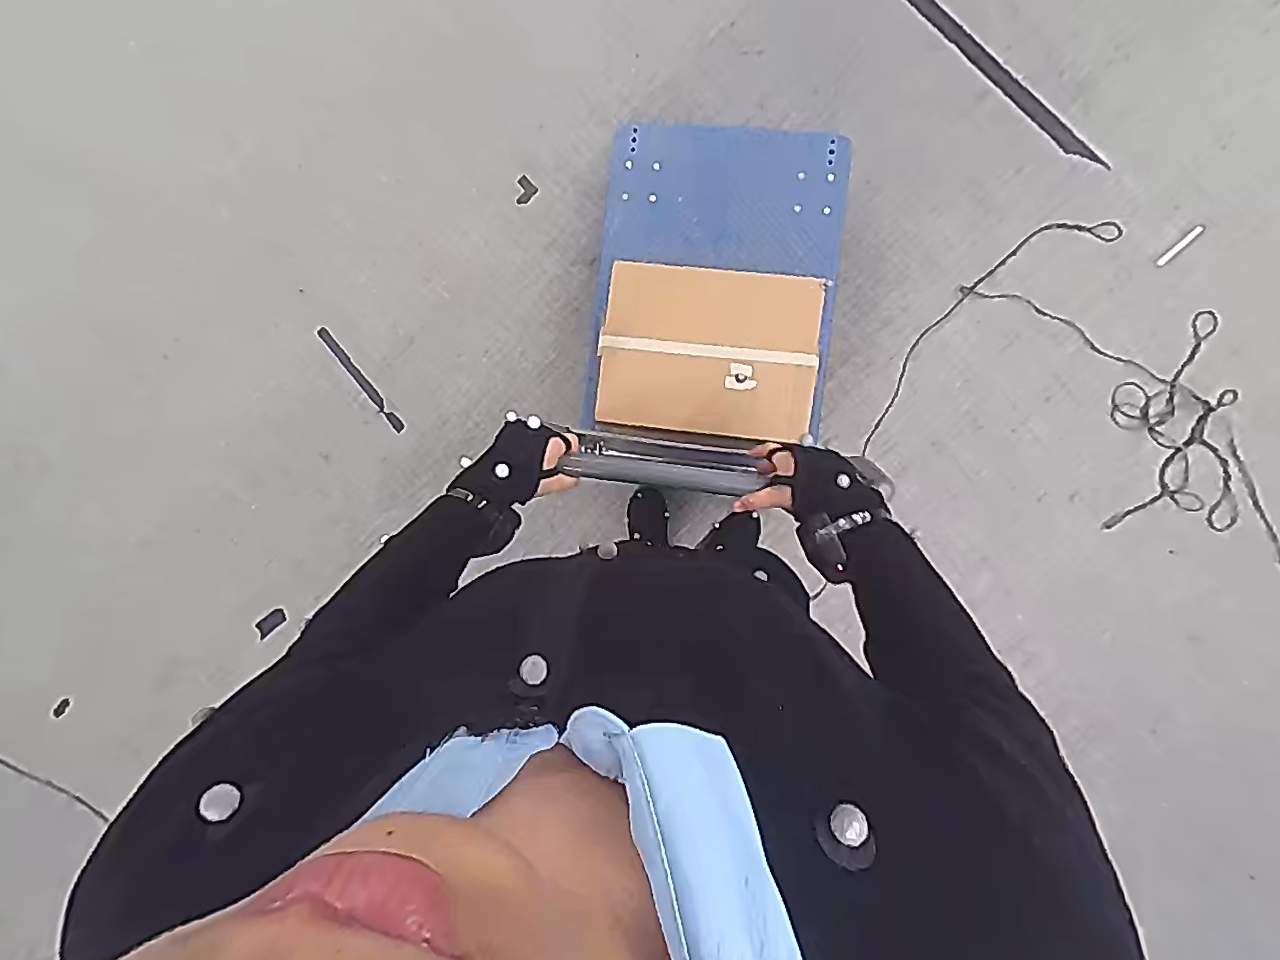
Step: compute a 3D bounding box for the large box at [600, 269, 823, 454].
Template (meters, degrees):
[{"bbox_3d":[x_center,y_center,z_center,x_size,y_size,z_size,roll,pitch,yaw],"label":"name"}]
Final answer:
[{"bbox_3d":[0.142,-0.235,1.177,0.408,0.320,0.320,7,90,4],"label":"large box"}]
